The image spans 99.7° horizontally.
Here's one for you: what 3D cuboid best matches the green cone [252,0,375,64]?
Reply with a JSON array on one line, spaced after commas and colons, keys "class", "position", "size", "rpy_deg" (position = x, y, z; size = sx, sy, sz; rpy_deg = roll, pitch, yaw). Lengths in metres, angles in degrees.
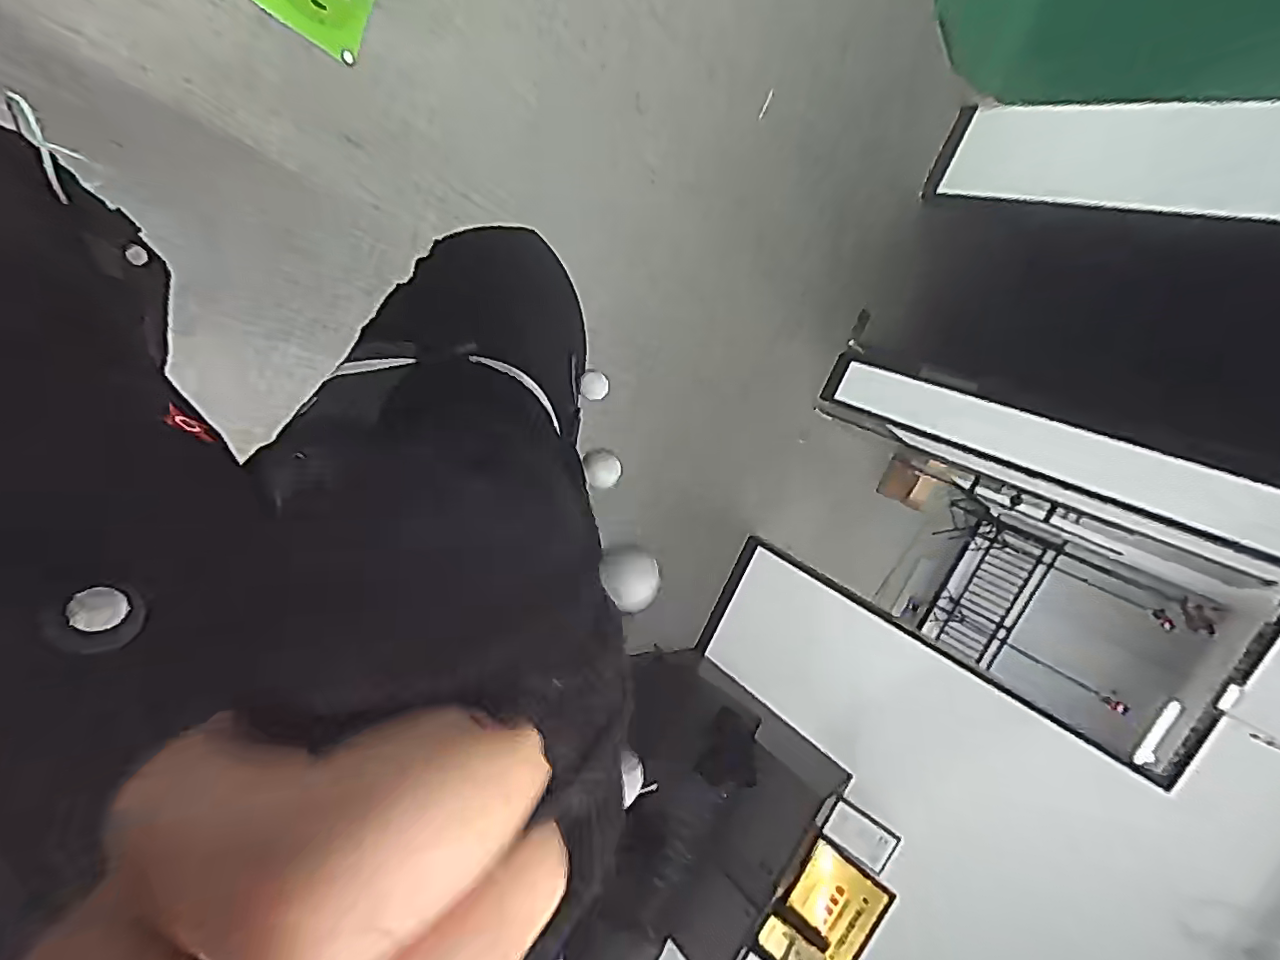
[{"class": "green cone", "position": [-0.511, -0.893, 0.931], "size": [0.202, 0.368, 0.200], "rpy_deg": [11, 106, -48]}]
